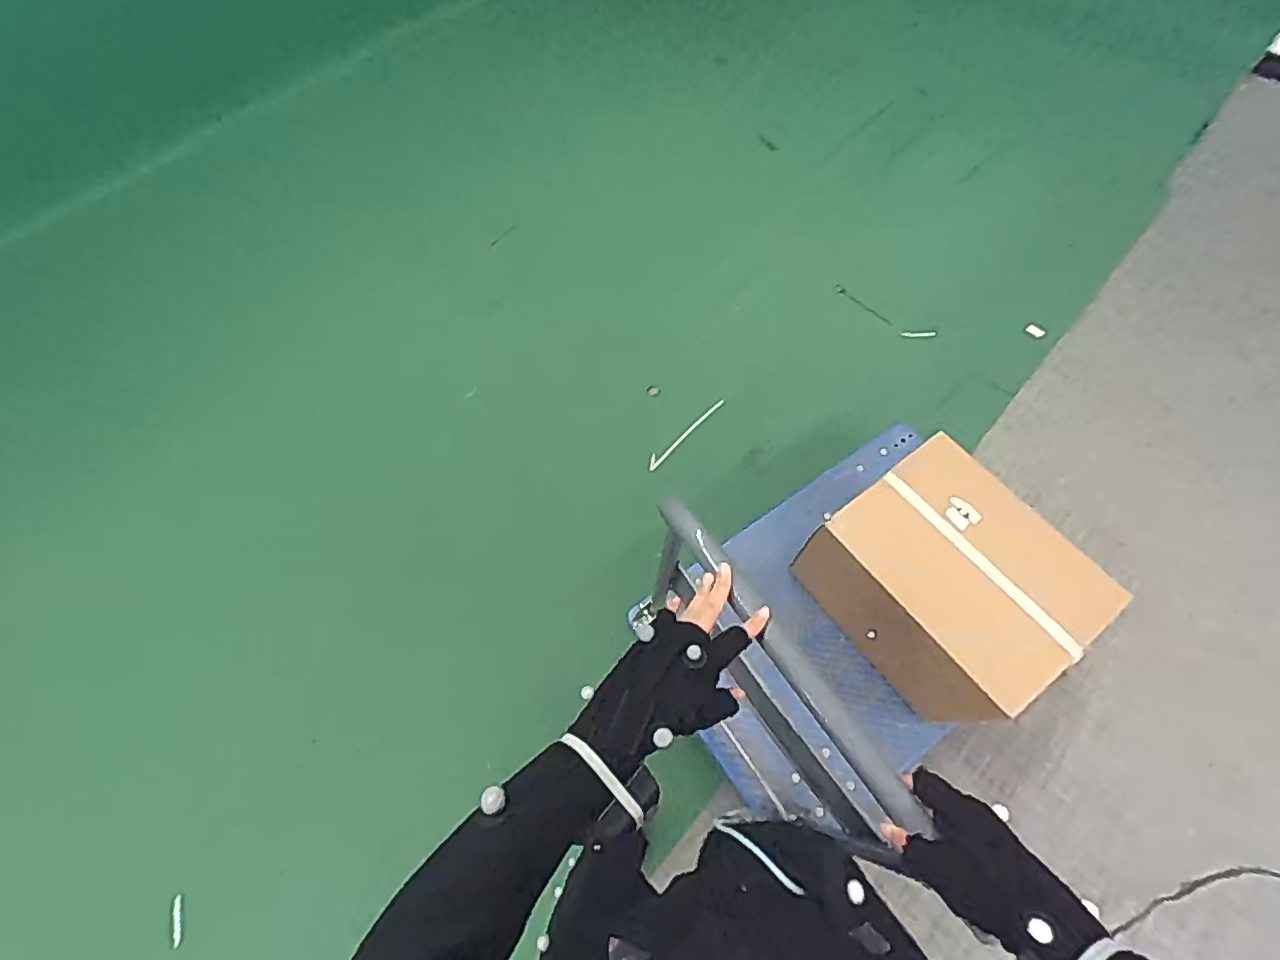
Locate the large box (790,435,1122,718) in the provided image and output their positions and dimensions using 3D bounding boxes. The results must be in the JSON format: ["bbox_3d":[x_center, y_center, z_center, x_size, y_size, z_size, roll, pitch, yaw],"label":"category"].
[{"bbox_3d":[0.567,0.198,1.063,0.320,0.320,0.408,-34,67,-12],"label":"large box"}]
